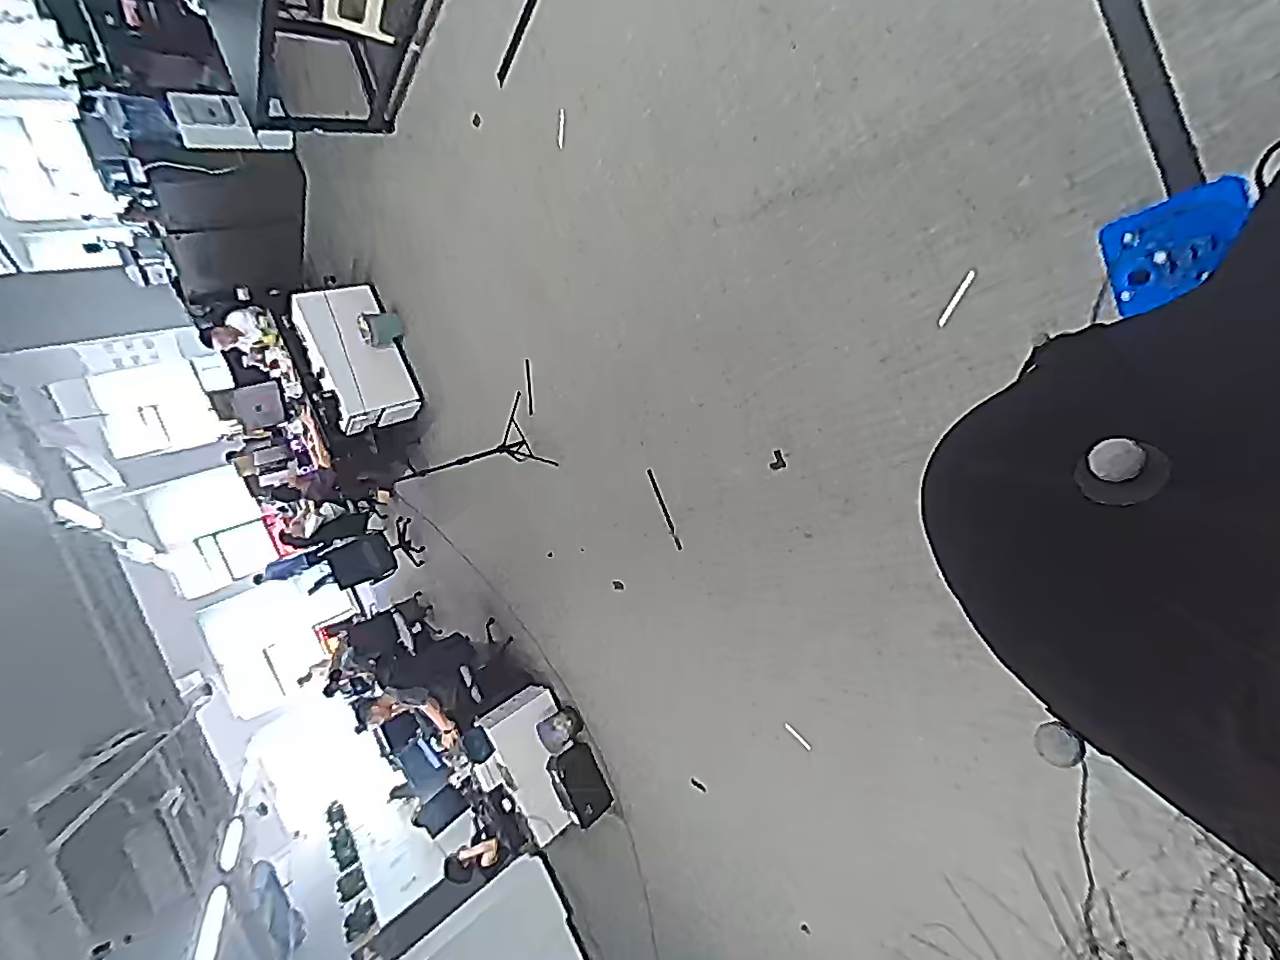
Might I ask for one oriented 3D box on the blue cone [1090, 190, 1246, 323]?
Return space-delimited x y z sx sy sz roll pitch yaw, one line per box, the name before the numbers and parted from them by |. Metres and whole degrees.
blue cone | 0.860 -0.348 0.916 0.193 0.380 0.192 -15 98 55
